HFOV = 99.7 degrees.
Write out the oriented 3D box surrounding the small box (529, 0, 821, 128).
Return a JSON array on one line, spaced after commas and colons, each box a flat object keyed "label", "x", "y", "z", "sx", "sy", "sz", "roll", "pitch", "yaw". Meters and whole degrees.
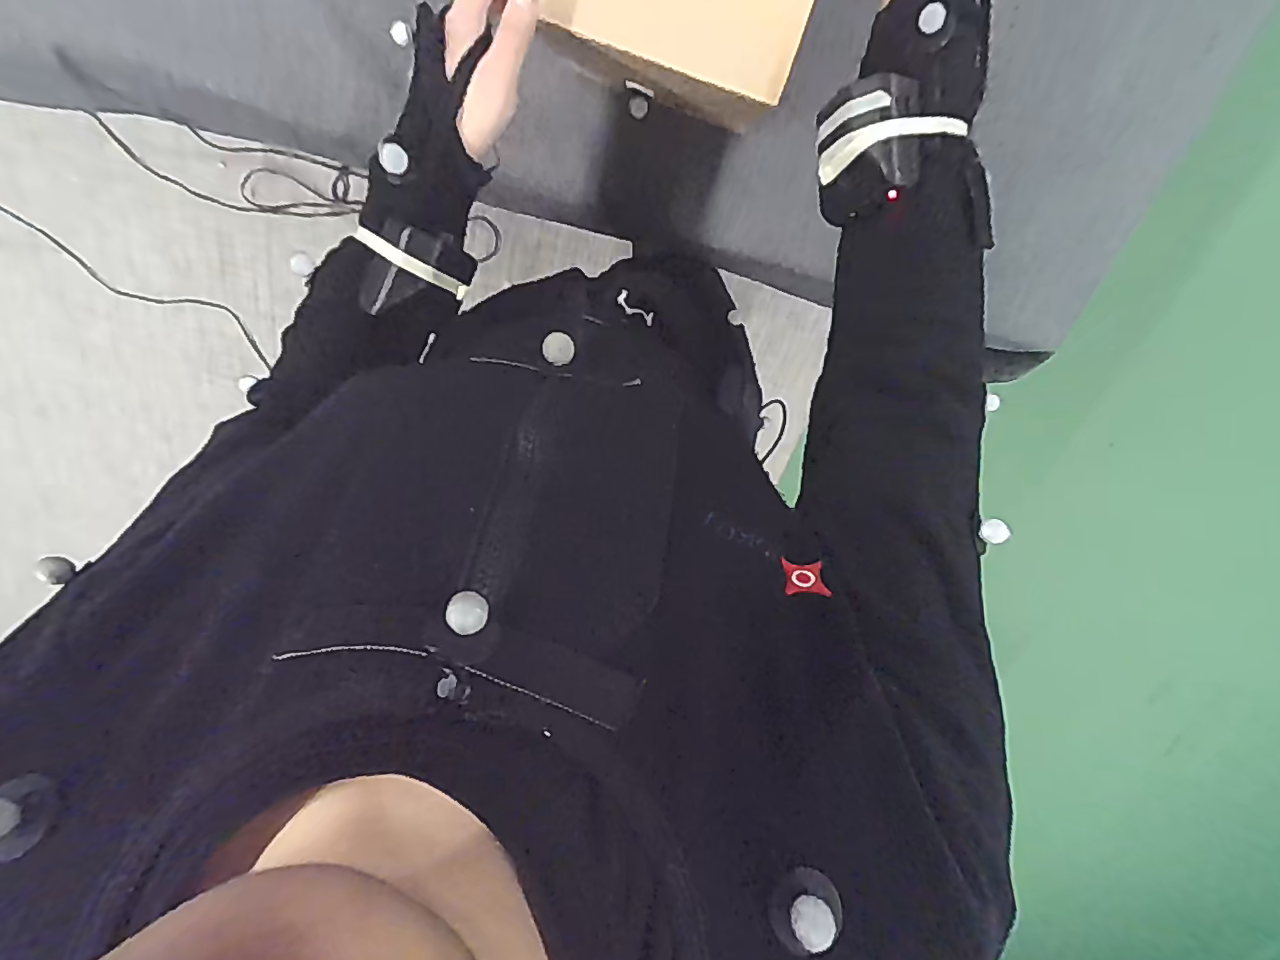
[{"label": "small box", "x": 0.039, "y": -0.361, "z": 0.355, "sx": 0.168, "sy": 0.176, "sz": 0.179, "roll": 16, "pitch": 118, "yaw": -4}]
